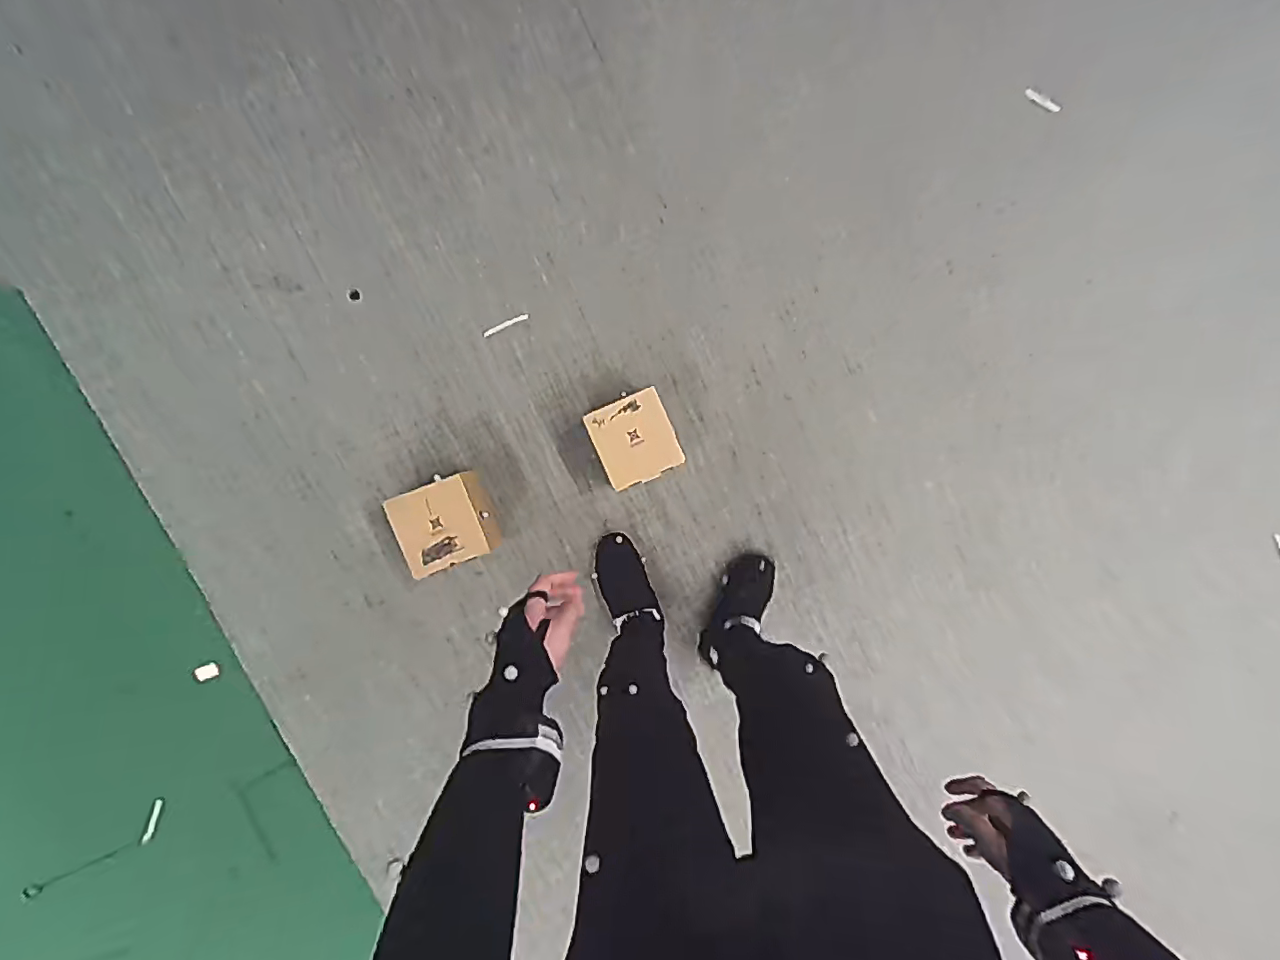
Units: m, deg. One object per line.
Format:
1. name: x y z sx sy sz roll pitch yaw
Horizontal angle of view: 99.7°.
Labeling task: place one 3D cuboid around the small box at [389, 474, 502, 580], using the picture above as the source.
1. small box: -0.416 0.095 1.191 0.168 0.176 0.179 -21 95 -5

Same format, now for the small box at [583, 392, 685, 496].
1. small box: -0.017 -0.083 1.203 0.168 0.176 0.179 -23 97 -4
